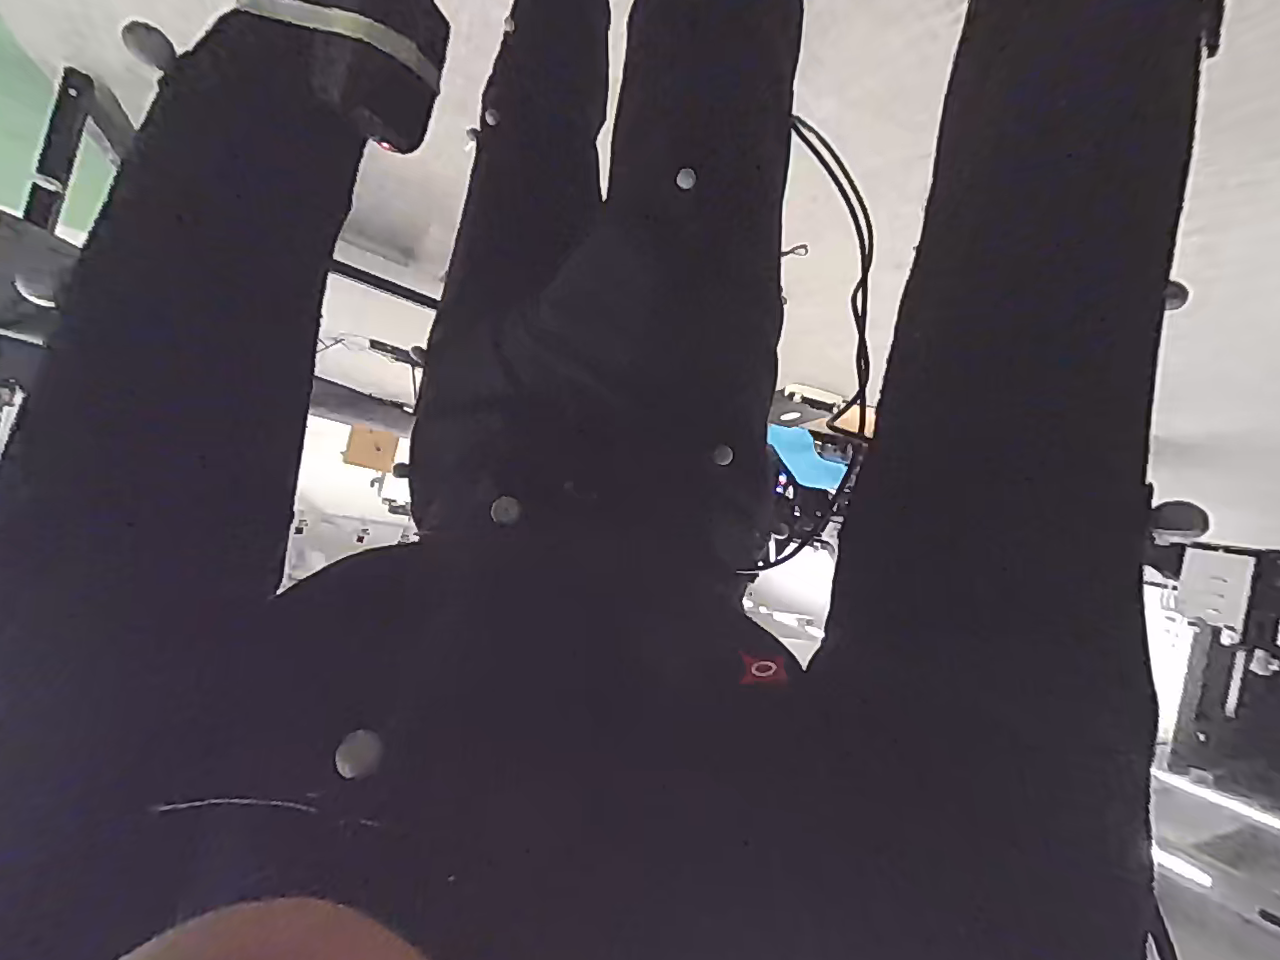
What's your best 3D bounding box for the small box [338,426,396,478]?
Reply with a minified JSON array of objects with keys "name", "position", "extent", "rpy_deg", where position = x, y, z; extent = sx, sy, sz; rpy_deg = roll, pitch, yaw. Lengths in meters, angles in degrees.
[{"name":"small box","position":[-1.058,-0.112,2.097],"extent":[0.168,0.176,0.179],"rpy_deg":[15,178,-31]}]
